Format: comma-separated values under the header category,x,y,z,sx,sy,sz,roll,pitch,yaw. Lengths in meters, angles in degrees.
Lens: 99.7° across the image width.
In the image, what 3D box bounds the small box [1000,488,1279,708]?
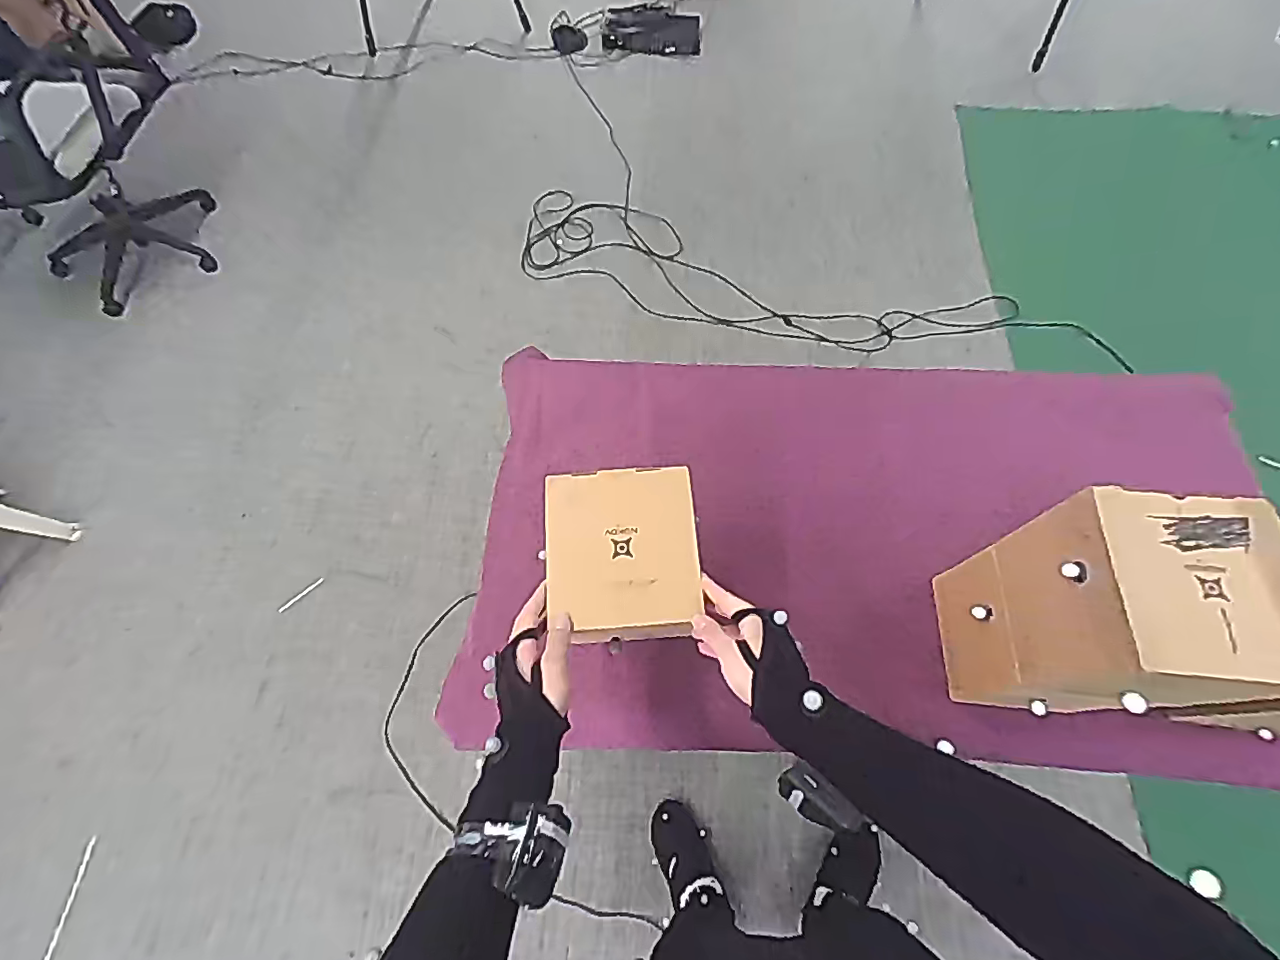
category,x,y,z,sx,sy,sz,roll,pitch,yaw
small box,0.506,0.127,0.554,0.168,0.176,0.179,5,64,5

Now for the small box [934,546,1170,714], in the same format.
category,x,y,z,sx,sy,sz,roll,pitch,yaw
small box,0.510,0.200,0.701,0.168,0.176,0.179,4,63,4

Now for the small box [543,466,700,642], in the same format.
category,x,y,z,sx,sy,sz,roll,pitch,yaw
small box,-0.023,0.097,0.660,0.168,0.176,0.179,-3,69,-1
